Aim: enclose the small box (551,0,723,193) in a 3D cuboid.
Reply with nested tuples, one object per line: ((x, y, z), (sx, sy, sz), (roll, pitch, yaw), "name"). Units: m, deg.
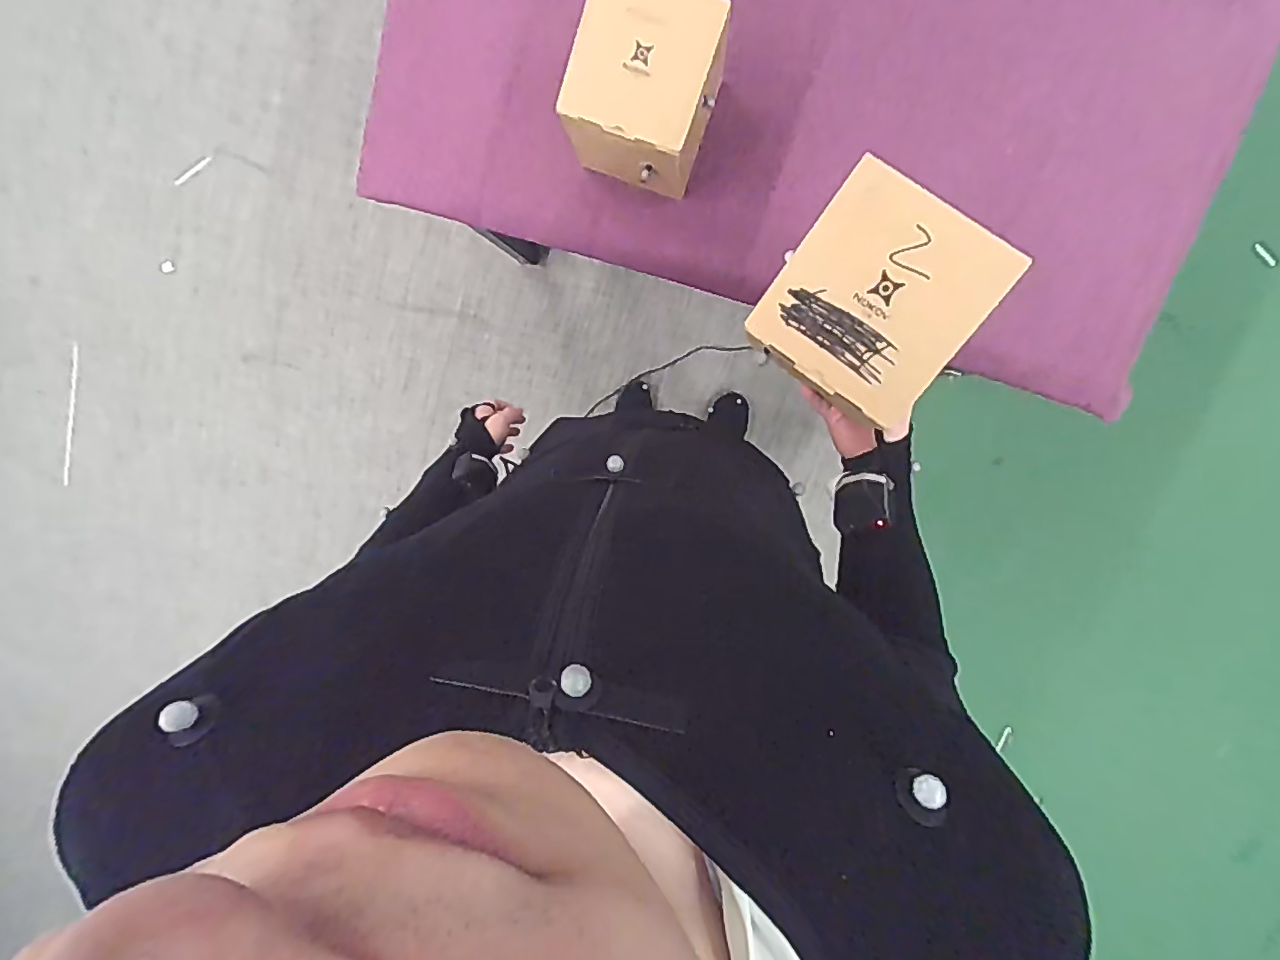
((0.000, -0.519, 0.727), (0.168, 0.176, 0.179), (20, 101, 0), "small box")
